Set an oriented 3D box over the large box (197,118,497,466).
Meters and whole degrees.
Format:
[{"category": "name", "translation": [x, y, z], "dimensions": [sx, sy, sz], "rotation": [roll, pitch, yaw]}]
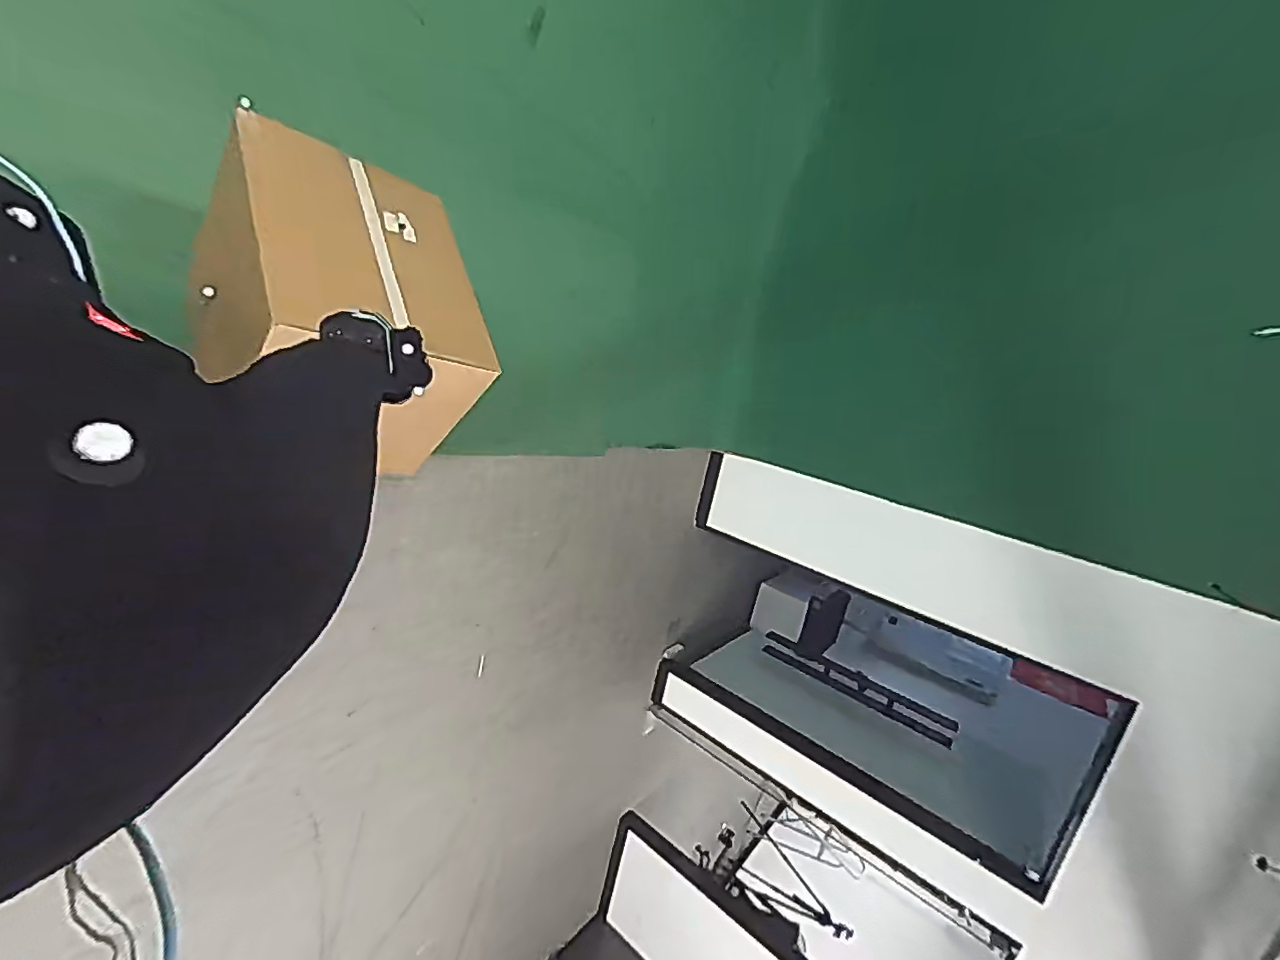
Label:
[{"category": "large box", "translation": [-0.498, -0.268, 0.897], "dimensions": [0.320, 0.408, 0.320], "rotation": [-38, 155, 33]}]
